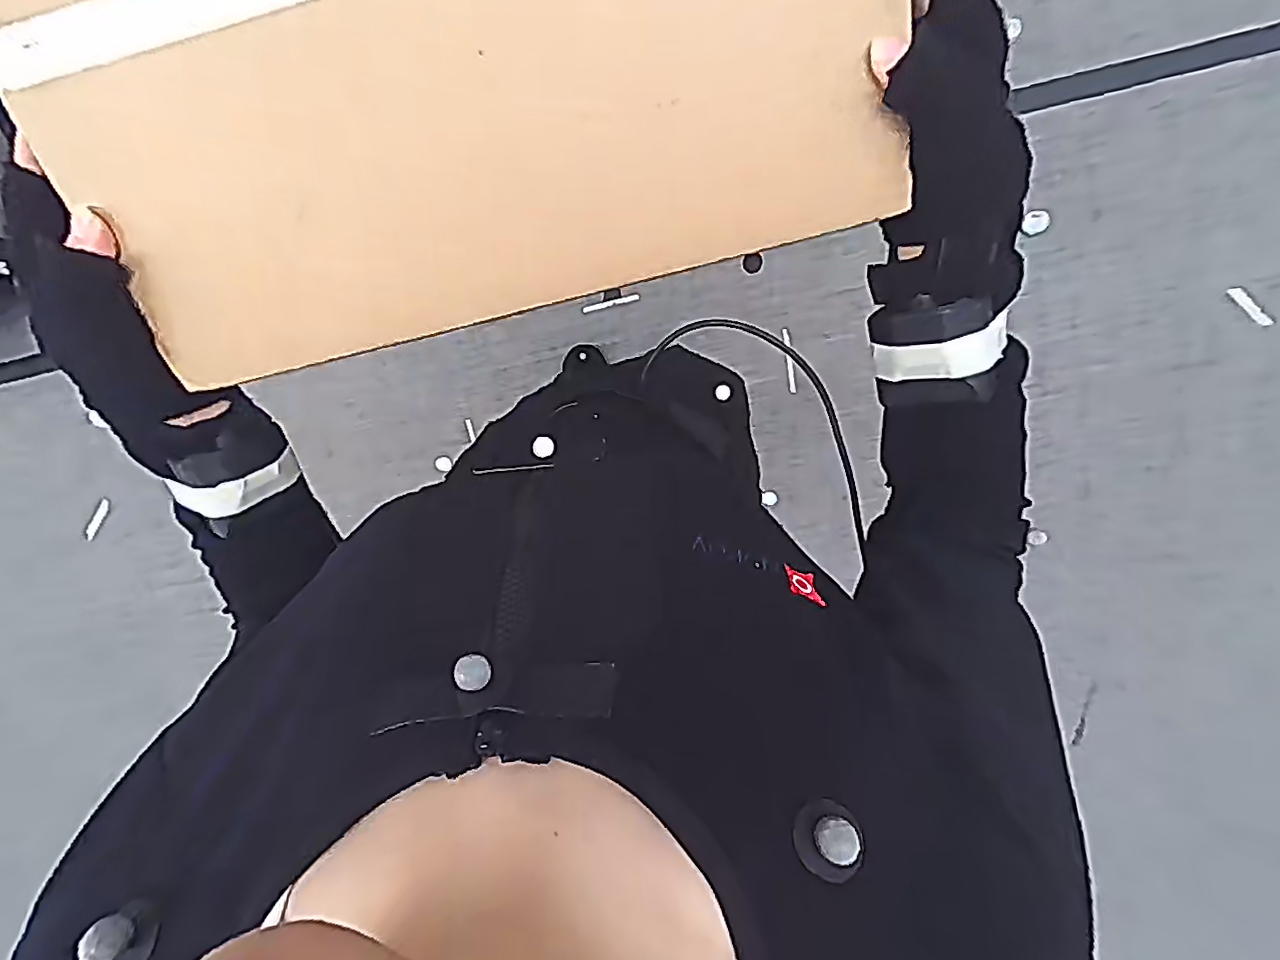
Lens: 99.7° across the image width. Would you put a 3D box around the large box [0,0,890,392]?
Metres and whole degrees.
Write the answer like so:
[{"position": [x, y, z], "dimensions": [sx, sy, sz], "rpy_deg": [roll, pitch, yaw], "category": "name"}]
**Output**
[{"position": [-0.098, -0.294, 0.368], "dimensions": [0.408, 0.320, 0.320], "rpy_deg": [-12, 115, 6], "category": "large box"}]
